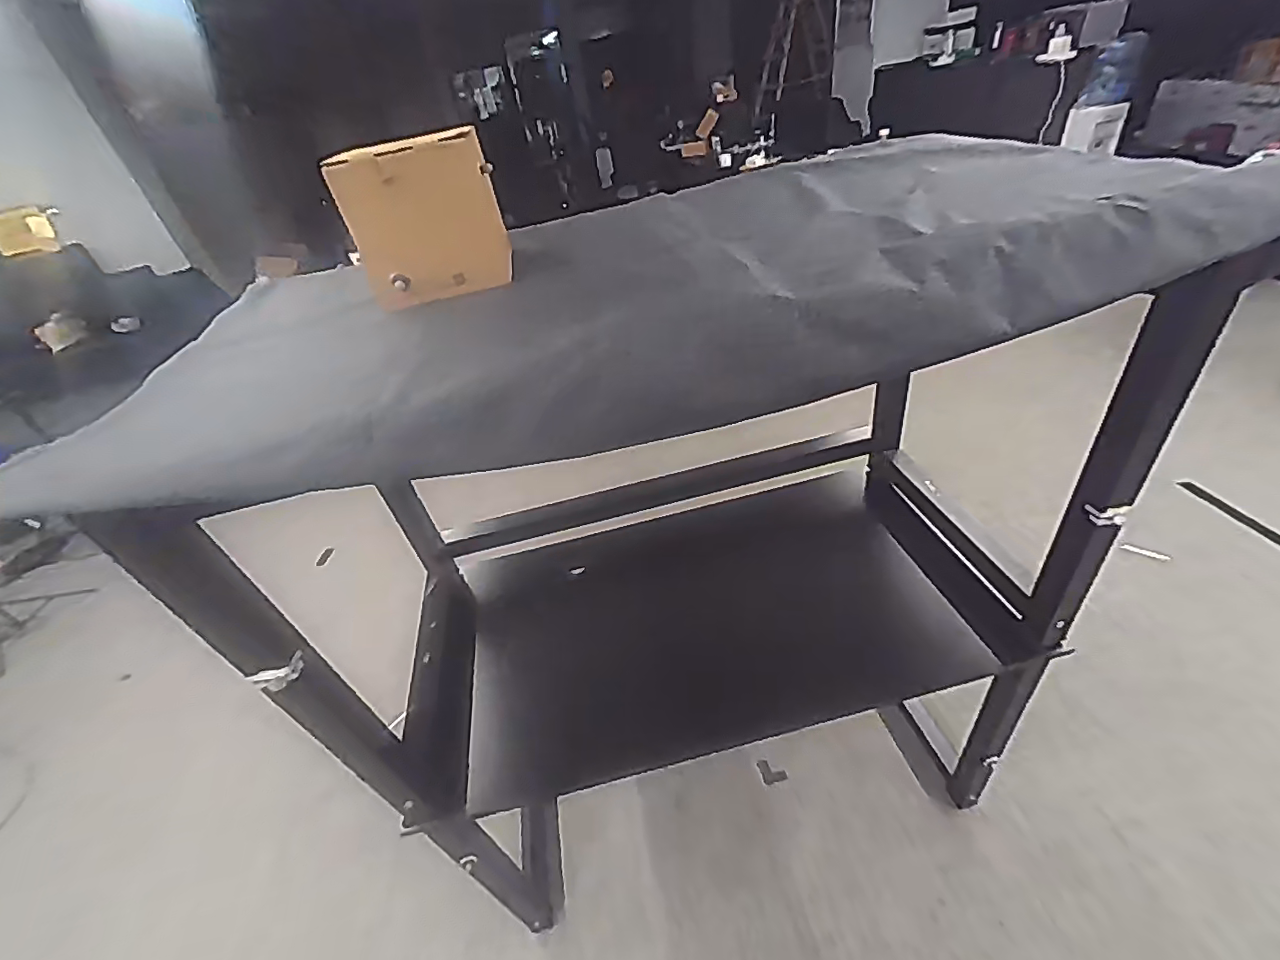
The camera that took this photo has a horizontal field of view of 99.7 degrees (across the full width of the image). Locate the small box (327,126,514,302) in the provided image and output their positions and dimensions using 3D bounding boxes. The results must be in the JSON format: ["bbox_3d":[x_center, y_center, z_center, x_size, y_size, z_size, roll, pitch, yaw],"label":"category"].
[{"bbox_3d":[-0.271,-0.349,0.716,0.168,0.176,0.179,-14,37,-3],"label":"small box"}]
